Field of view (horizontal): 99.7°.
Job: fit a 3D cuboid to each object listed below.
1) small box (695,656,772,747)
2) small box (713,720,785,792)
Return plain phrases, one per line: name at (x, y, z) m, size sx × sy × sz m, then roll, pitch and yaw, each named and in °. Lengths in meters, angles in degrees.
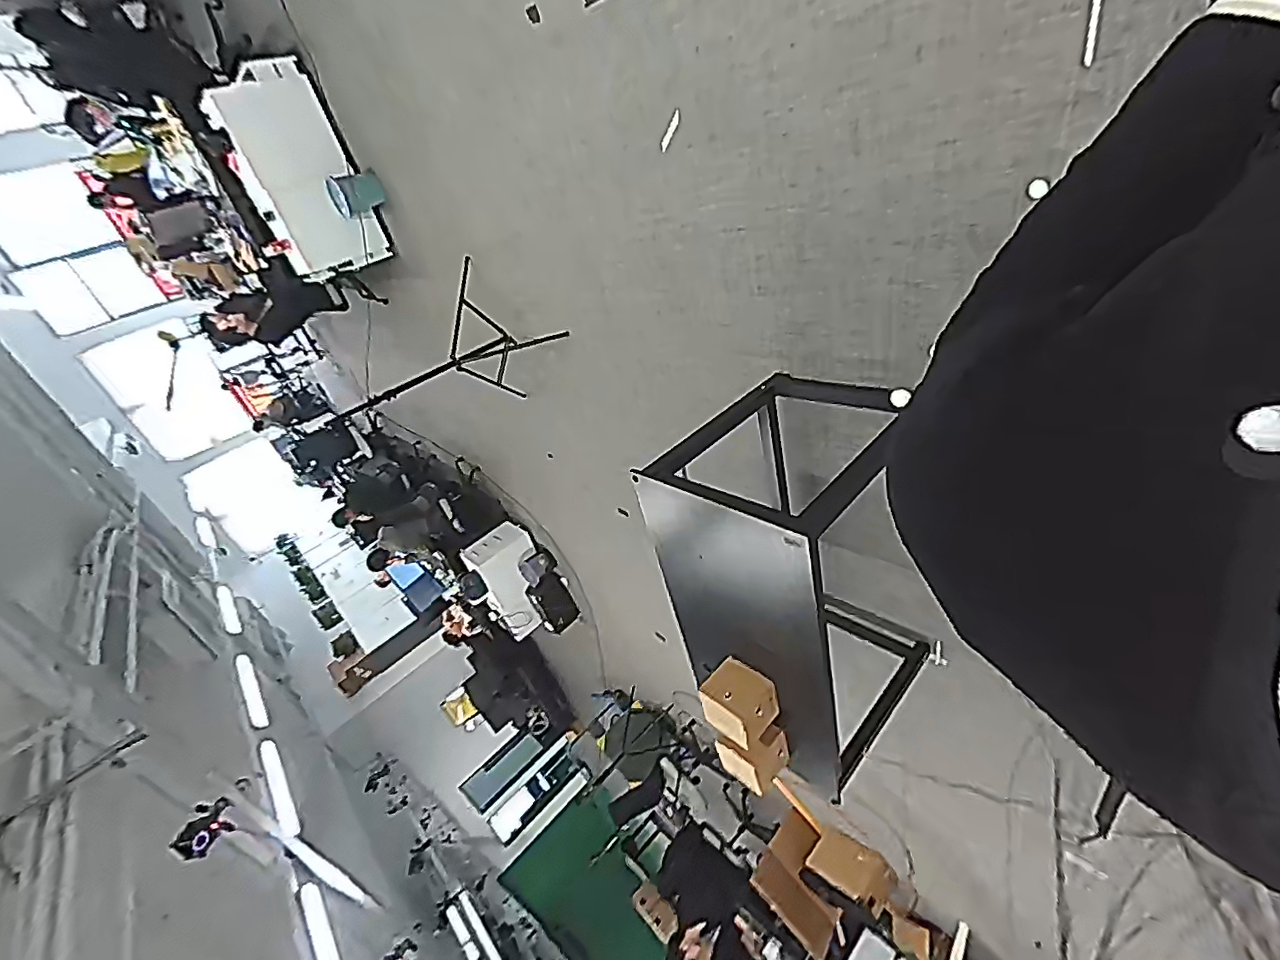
small box at (0.309, 0.703, 1.736) m, size 0.179 × 0.176 × 0.168 m, roll 21°, pitch 137°, yaw 46°
small box at (0.380, 0.919, 1.866) m, size 0.168 × 0.176 × 0.179 m, roll 19°, pitch 136°, yaw 46°
